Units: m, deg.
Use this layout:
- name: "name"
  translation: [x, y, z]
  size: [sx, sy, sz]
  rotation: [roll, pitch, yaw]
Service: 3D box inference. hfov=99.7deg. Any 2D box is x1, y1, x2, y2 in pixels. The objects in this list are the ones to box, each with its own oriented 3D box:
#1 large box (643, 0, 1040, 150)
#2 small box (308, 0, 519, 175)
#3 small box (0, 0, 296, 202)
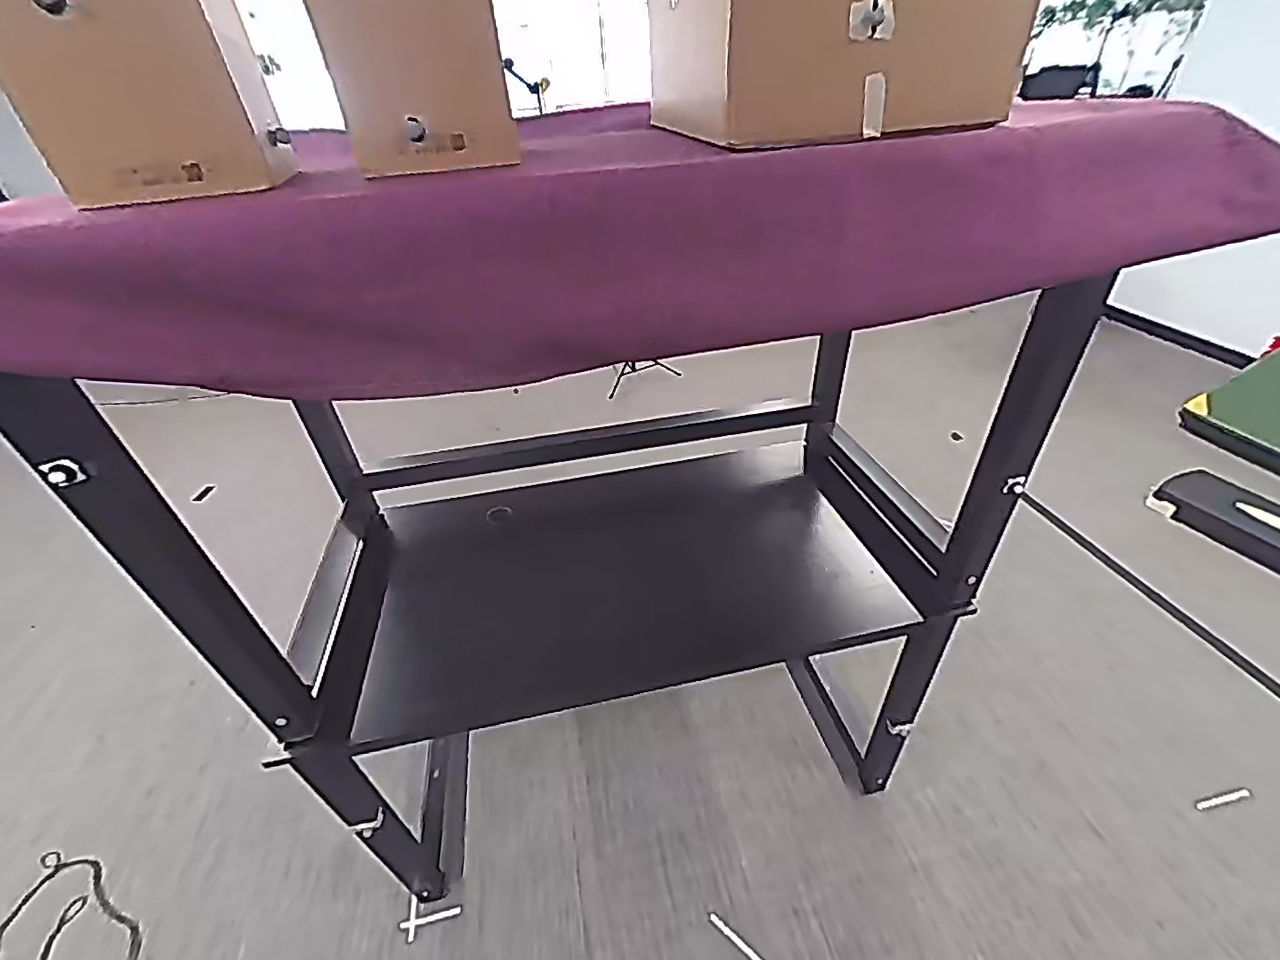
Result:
- name: "large box"
  translation: [0.188, -0.577, 0.613]
  size: [0.320, 0.320, 0.408]
  rotation: [-9, 36, -7]
- name: "small box"
  translation: [-0.229, -0.436, 0.581]
  size: [0.168, 0.176, 0.179]
  rotation: [-11, 37, -8]
- name: "small box"
  translation: [-0.459, -0.374, 0.519]
  size: [0.168, 0.176, 0.179]
  rotation: [-15, 37, -14]
